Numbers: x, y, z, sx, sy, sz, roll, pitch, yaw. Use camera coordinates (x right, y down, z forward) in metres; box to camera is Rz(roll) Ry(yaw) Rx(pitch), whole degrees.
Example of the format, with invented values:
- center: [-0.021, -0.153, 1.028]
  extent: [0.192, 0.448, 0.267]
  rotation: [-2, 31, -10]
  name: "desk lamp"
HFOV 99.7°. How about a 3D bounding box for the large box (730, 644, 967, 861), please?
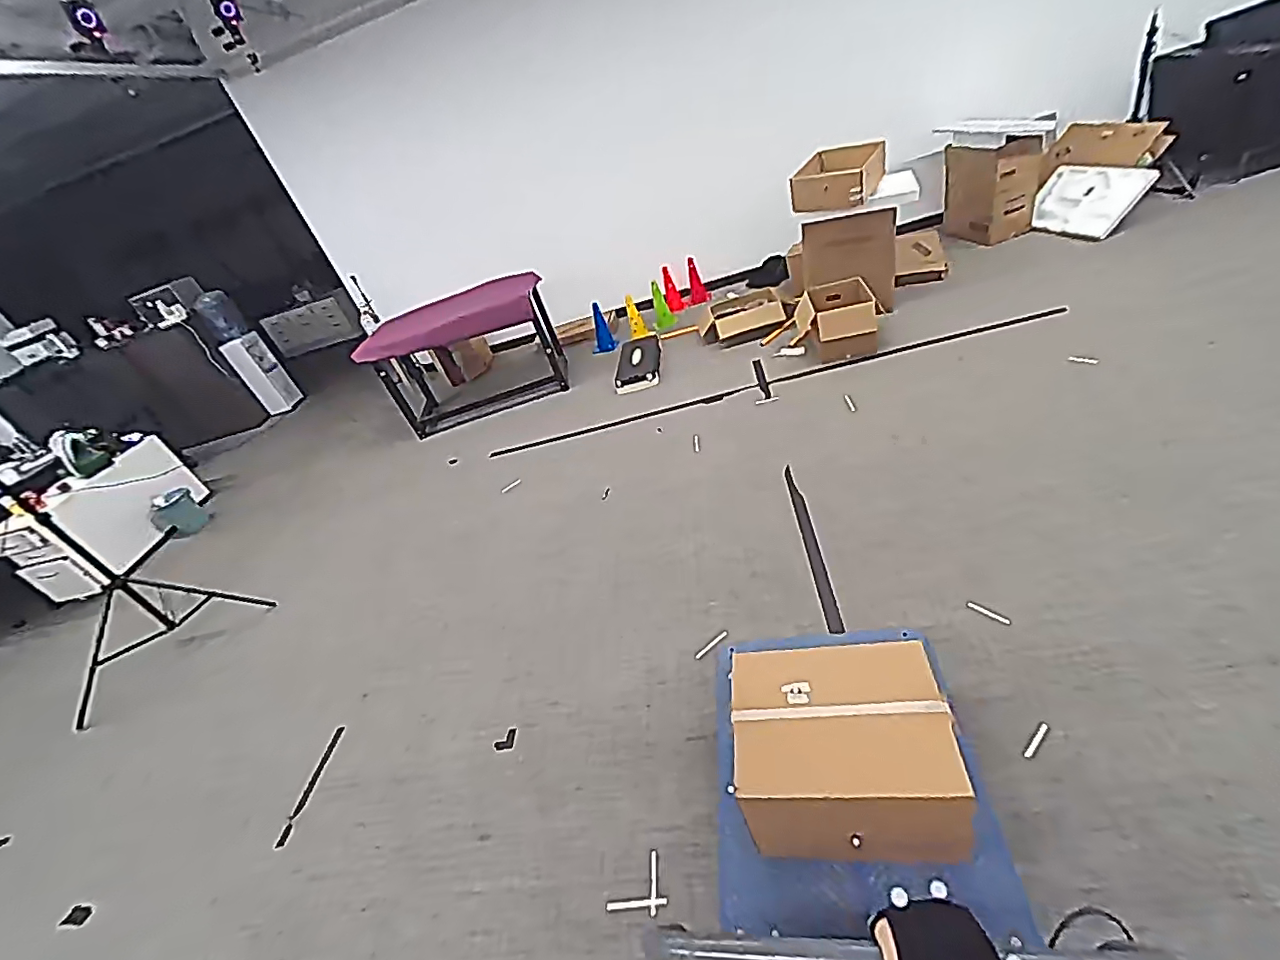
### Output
- center: [0.430, 0.593, 1.168]
  extent: [0.408, 0.320, 0.320]
  rotation: [-11, 34, 16]
  name: "large box"
